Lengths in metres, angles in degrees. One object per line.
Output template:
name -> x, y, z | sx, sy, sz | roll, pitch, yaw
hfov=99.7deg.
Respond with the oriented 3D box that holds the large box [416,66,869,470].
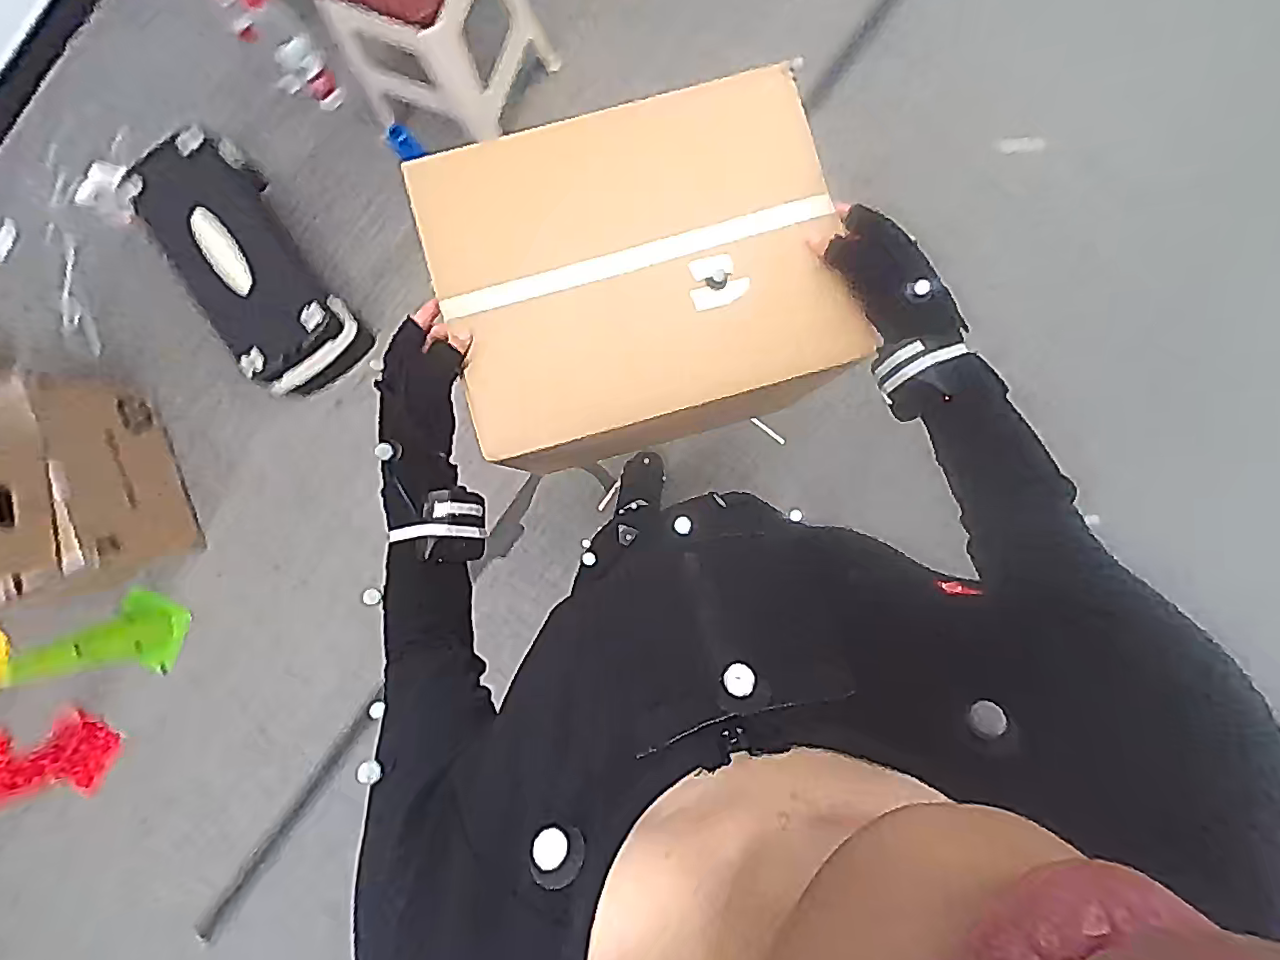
large box -> -0.002, -0.220, 0.692 | 0.408, 0.320, 0.320 | -15, 89, -2
